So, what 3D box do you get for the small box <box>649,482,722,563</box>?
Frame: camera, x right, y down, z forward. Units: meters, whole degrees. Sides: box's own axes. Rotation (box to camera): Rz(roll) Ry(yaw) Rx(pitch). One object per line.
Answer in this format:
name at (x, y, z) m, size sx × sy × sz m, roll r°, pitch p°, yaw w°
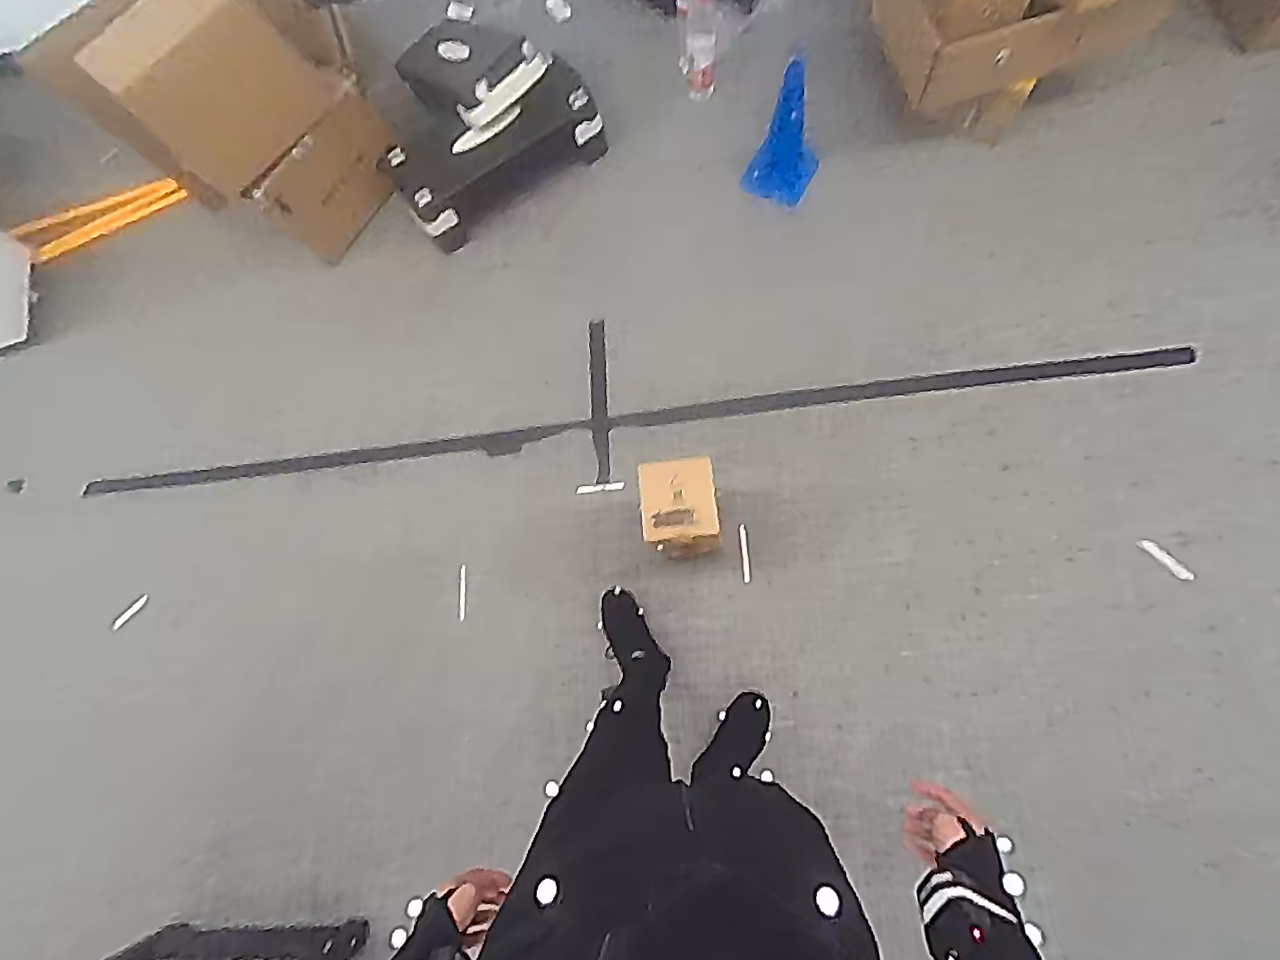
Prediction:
small box at (0.121, 0.117, 1.421) m, size 0.168 × 0.176 × 0.179 m, roll -9°, pitch 76°, yaw 6°
